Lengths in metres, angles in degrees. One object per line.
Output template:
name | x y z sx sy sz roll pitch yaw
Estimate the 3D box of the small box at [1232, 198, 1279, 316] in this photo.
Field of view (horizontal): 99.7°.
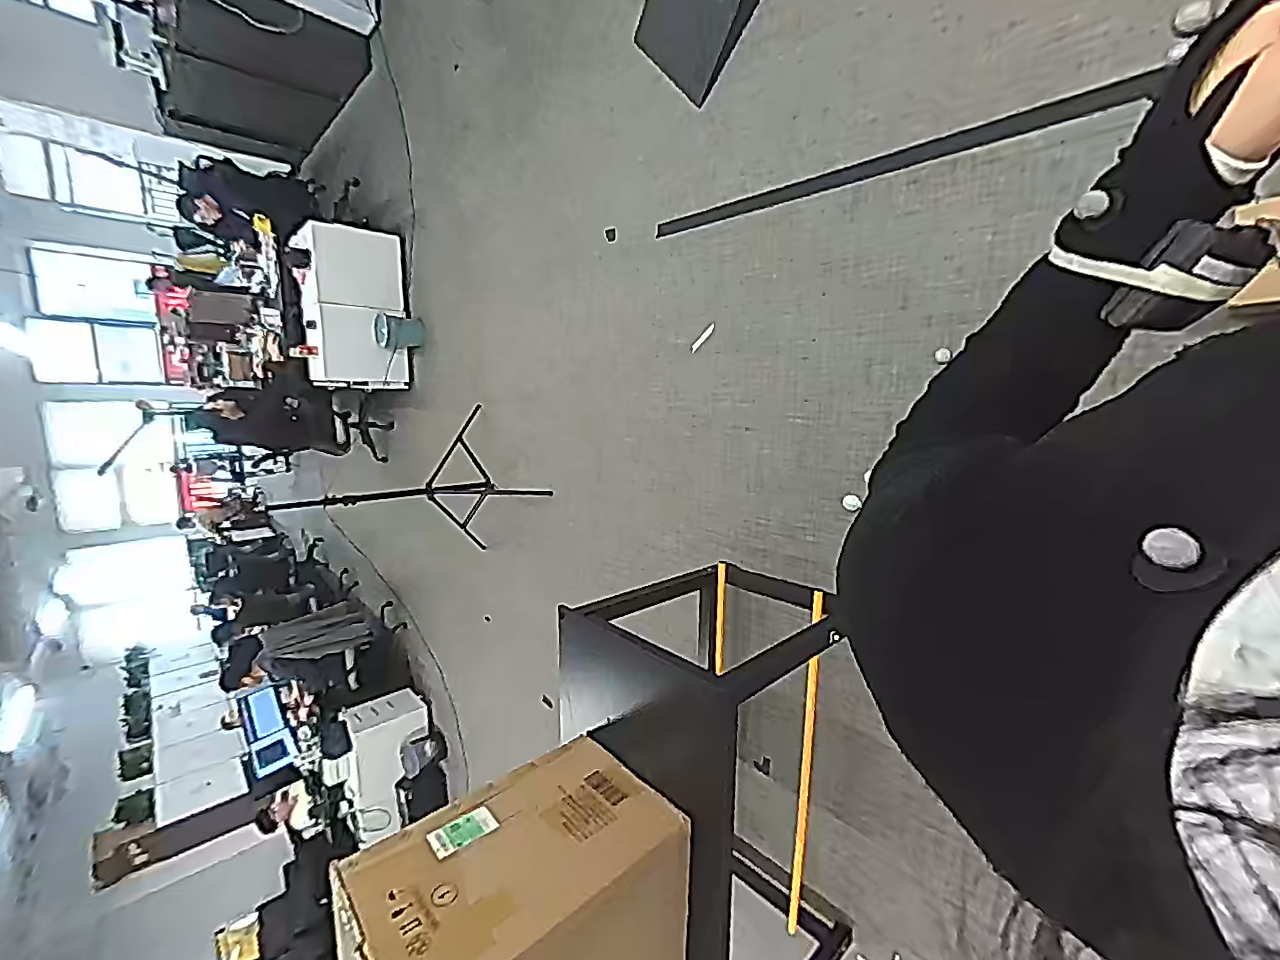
small box | 1.110 -0.371 0.887 0.179 0.176 0.168 5 100 47
